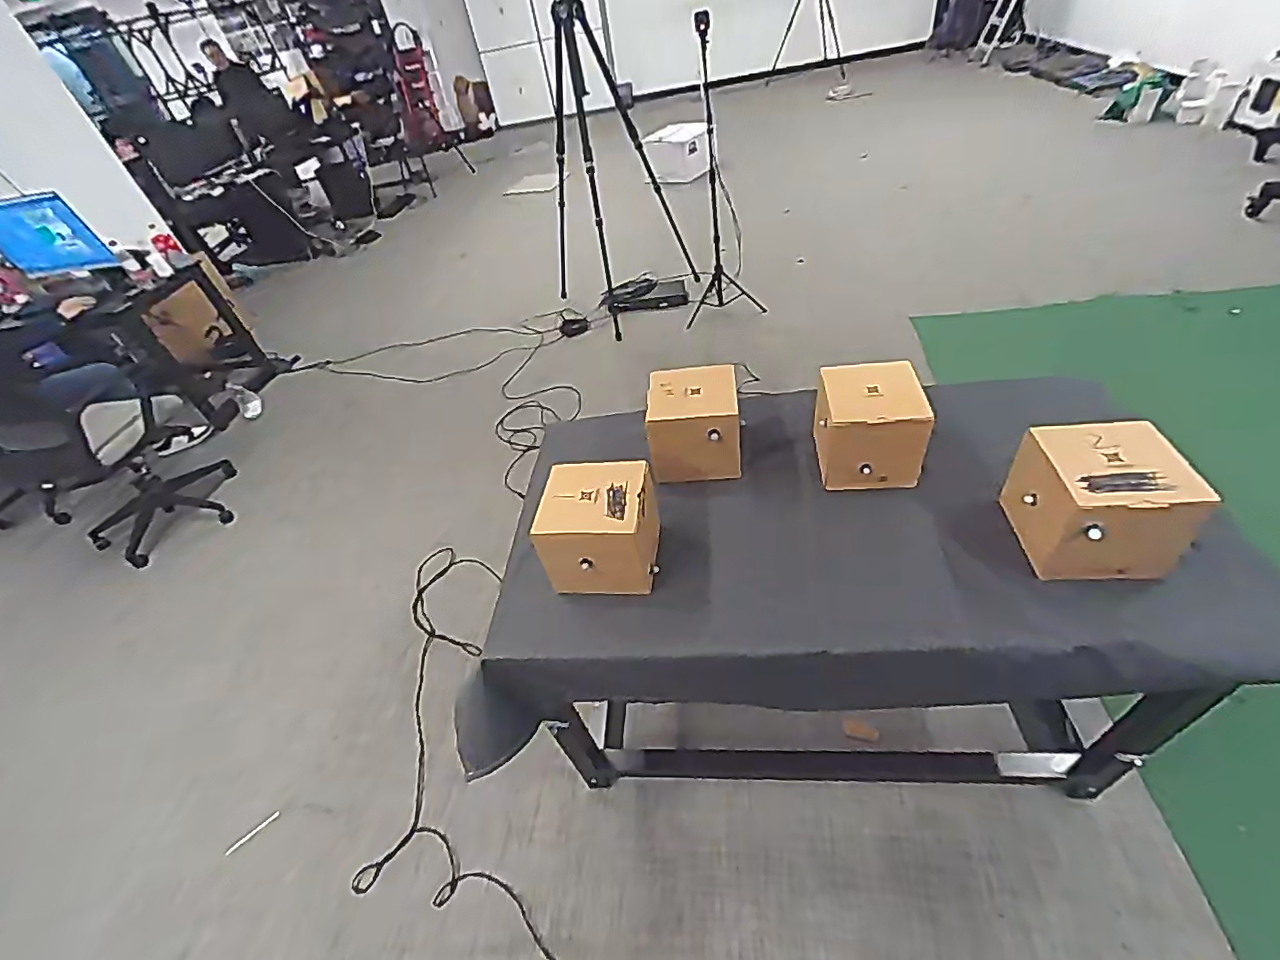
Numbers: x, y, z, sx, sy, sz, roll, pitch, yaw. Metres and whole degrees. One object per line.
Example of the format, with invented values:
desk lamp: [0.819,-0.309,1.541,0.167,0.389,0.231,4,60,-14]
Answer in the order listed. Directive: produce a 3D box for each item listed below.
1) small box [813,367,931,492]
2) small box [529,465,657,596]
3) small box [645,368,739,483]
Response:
small box: [0.431,-0.096,1.036,0.168,0.176,0.179,-2,45,10]
small box: [-0.070,0.090,0.953,0.179,0.176,0.168,-2,44,12]
small box: [0.112,-0.108,1.114,0.179,0.176,0.168,-4,45,10]
